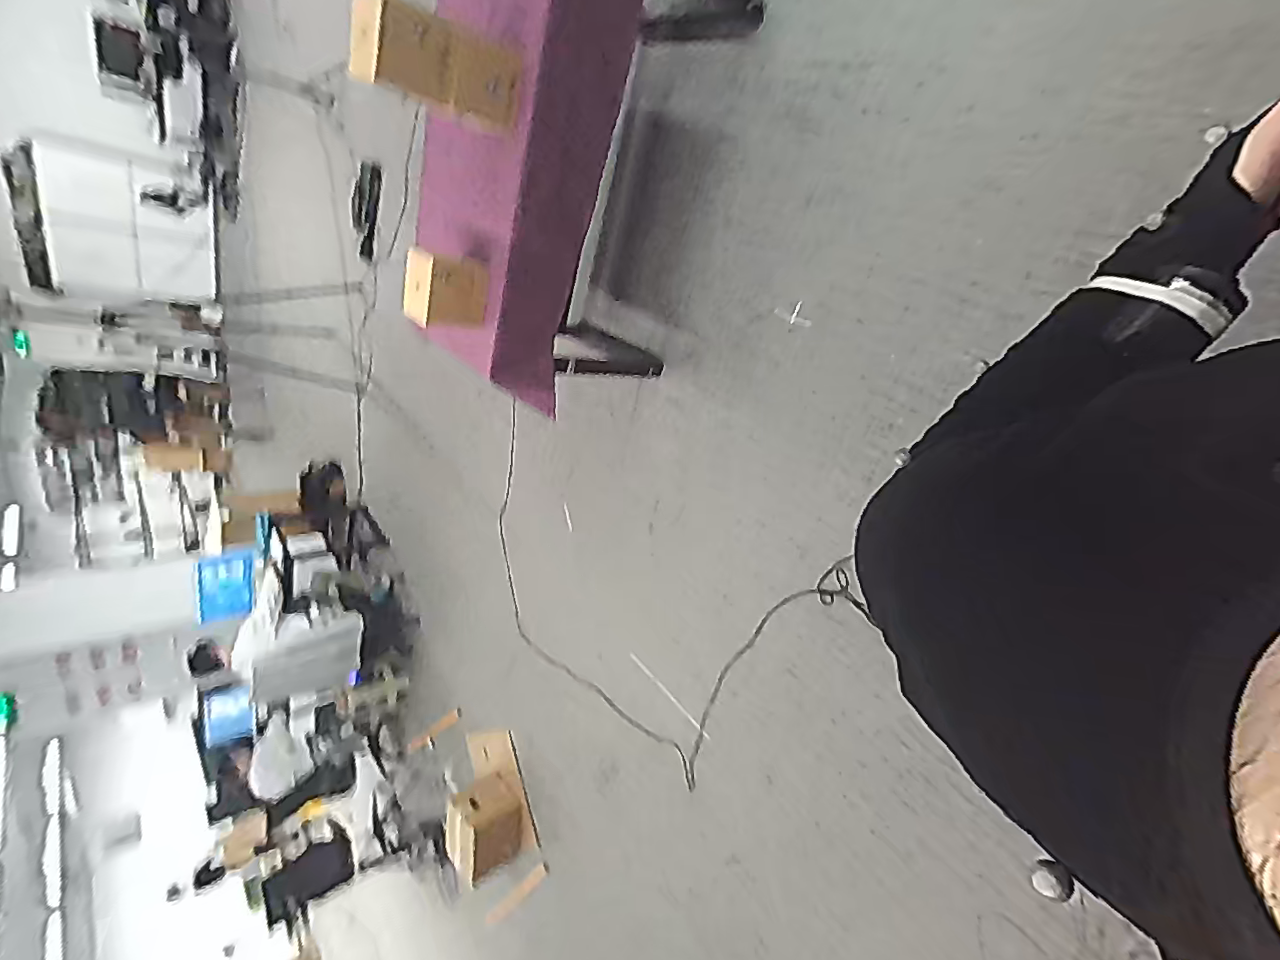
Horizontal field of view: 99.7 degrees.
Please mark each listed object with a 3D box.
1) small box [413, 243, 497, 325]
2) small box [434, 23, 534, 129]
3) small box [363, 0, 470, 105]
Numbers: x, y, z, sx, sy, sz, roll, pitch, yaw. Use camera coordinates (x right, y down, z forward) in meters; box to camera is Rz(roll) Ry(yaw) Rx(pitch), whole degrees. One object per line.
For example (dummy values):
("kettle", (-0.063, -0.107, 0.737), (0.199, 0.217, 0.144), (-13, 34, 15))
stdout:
("small box", (-0.526, -0.553, 1.537), (0.168, 0.176, 0.179), (35, 118, 39))
("small box", (-0.384, -0.990, 1.330), (0.179, 0.176, 0.168), (38, 121, 37))
("small box", (-0.504, -0.977, 1.220), (0.179, 0.176, 0.168), (41, 122, 36))
